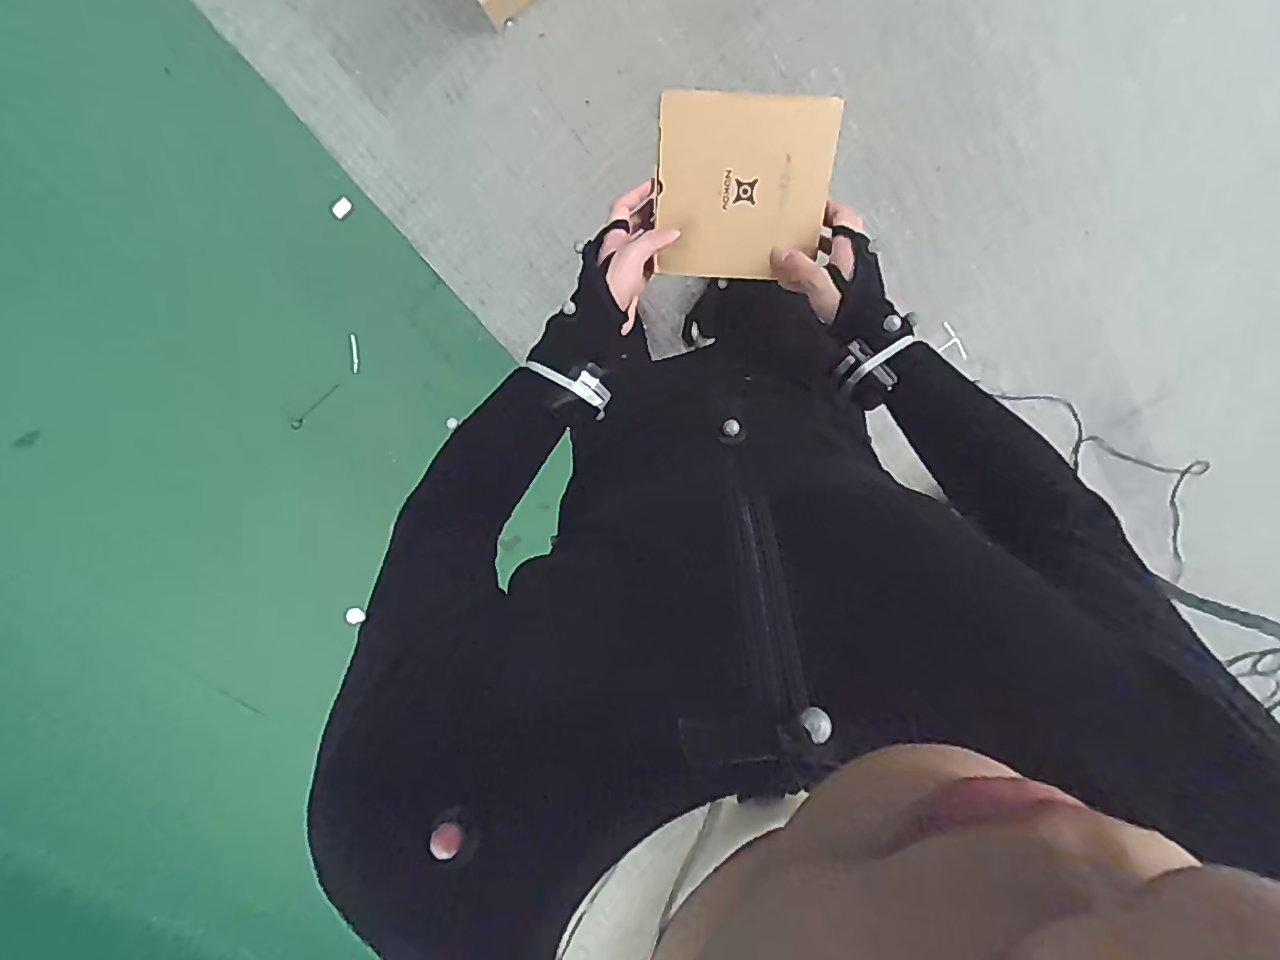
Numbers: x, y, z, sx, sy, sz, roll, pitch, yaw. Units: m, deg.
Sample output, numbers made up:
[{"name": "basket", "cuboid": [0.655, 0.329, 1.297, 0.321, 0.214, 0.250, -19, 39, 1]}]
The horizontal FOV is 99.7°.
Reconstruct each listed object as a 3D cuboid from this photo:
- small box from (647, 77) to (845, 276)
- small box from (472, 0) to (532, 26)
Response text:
[{"name": "small box", "cuboid": [0.103, -0.329, 0.609, 0.179, 0.176, 0.168, 4, 116, 0]}, {"name": "small box", "cuboid": [-0.309, -1.098, 1.123, 0.168, 0.176, 0.179, -32, 109, 11]}]
